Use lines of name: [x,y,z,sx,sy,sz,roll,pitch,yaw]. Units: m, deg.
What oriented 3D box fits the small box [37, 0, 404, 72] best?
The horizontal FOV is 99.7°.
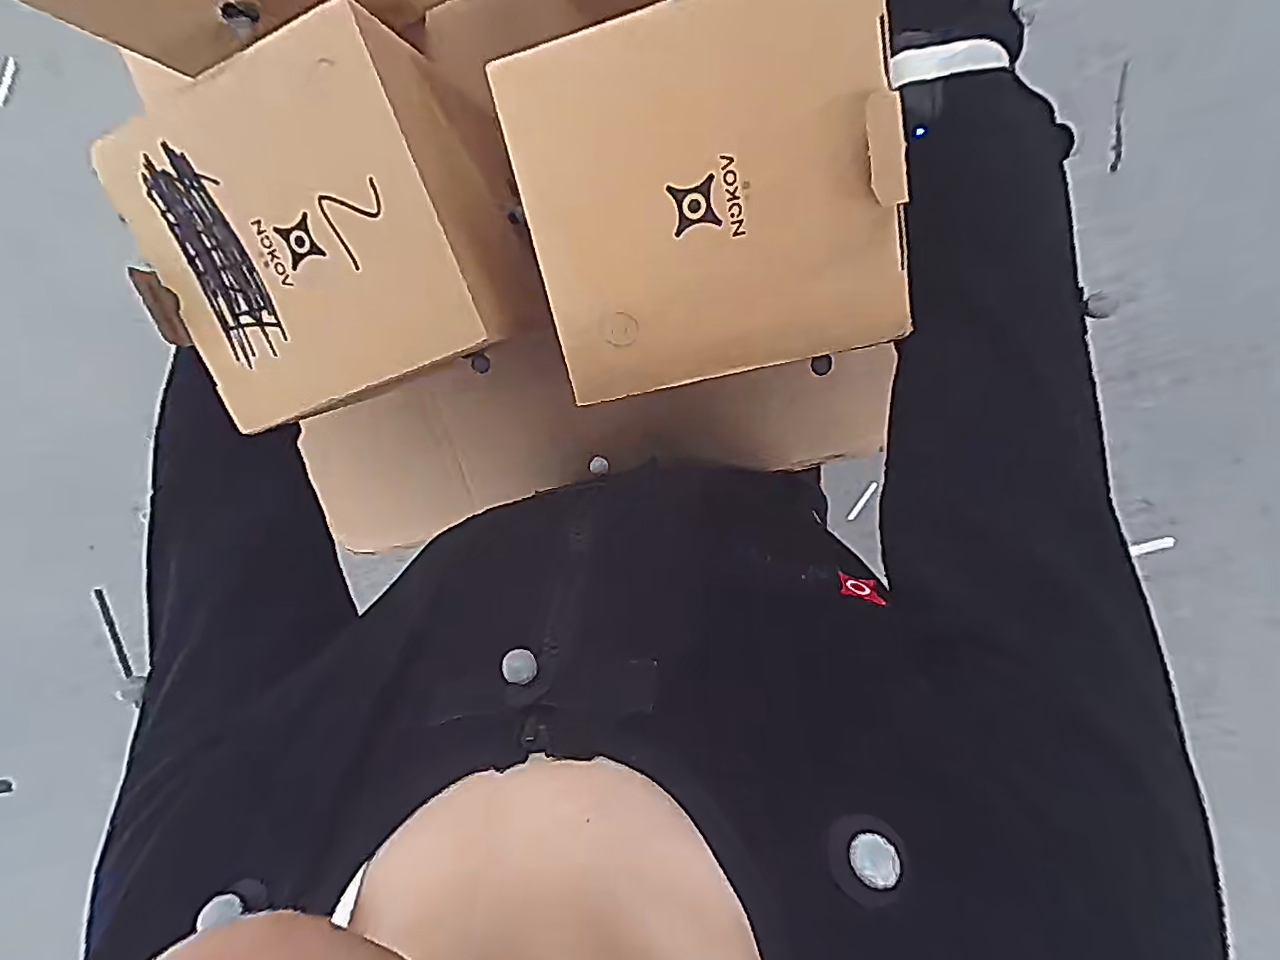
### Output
small box: [-0.273,-0.380,0.314,0.168,0.176,0.179,-13,103,13]
